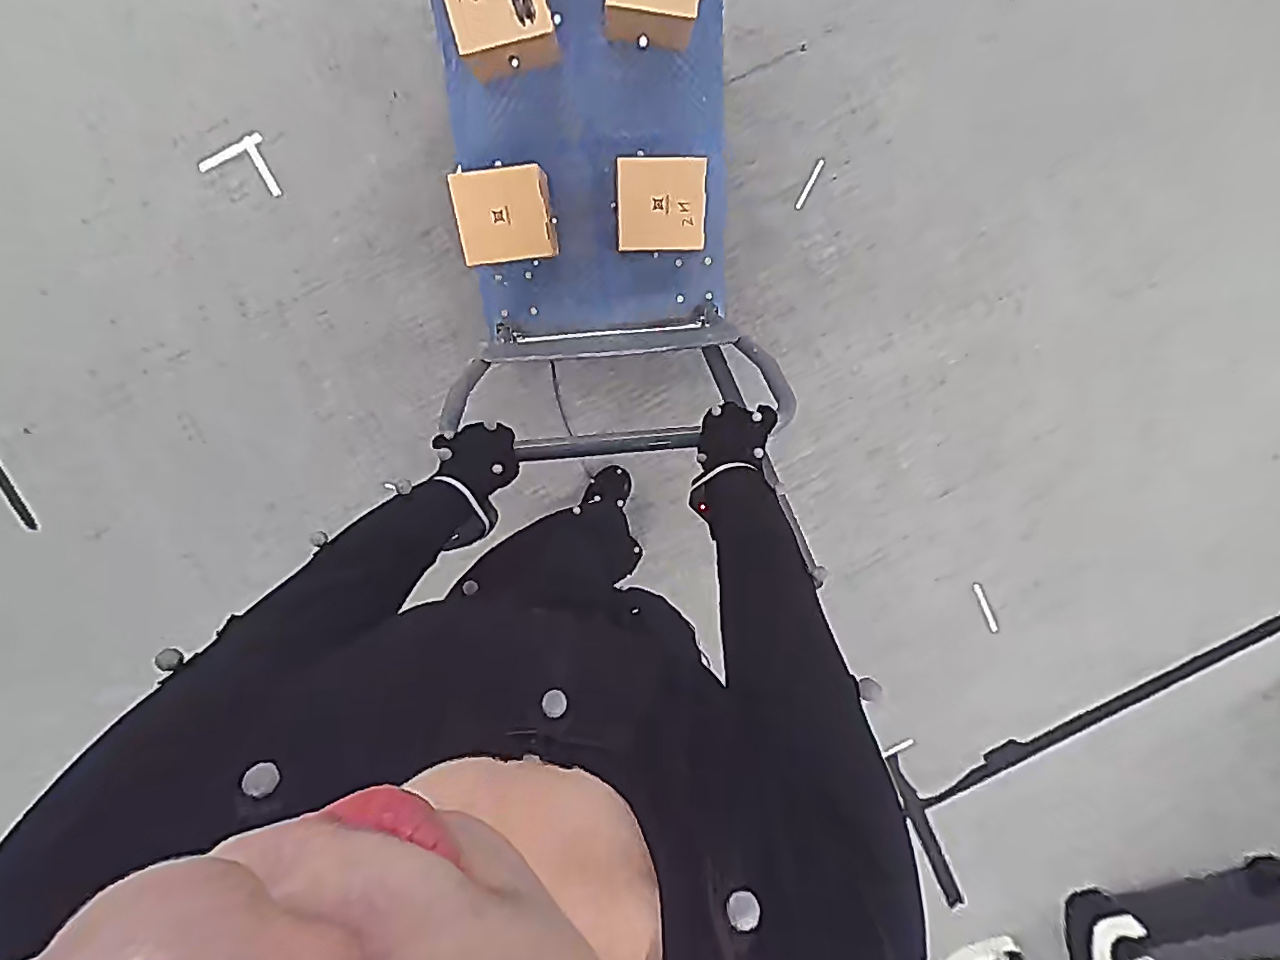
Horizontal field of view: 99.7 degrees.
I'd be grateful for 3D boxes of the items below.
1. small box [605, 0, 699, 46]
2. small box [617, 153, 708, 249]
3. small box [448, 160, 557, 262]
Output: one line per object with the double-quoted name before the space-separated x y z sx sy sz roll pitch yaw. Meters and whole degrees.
"small box" 0.026 -0.938 0.987 0.168 0.176 0.179 5 113 -6
"small box" 0.040 -0.578 1.136 0.179 0.176 0.168 -1 113 -3
"small box" -0.277 -0.552 1.128 0.179 0.176 0.168 -8 113 -2
